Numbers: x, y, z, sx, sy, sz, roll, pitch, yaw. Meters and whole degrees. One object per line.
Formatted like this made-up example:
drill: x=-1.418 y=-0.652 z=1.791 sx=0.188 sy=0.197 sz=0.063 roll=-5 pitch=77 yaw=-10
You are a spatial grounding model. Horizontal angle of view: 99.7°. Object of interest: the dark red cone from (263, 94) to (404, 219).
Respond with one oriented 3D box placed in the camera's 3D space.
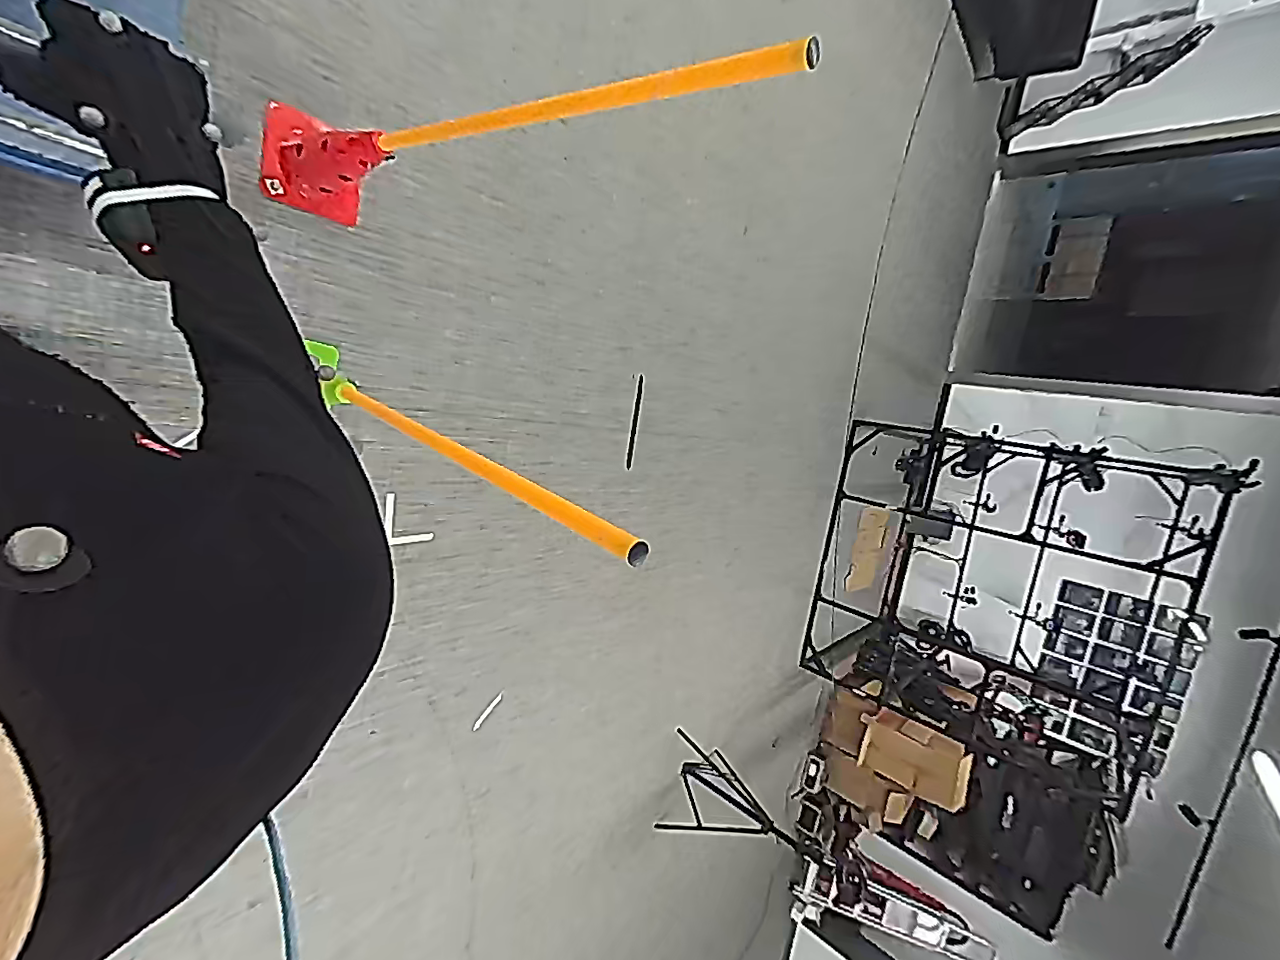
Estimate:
dark red cone: x=-0.600 y=-0.681 z=1.108 sx=0.201 sy=0.394 sz=0.202 roll=0 pitch=103 yaw=-51
